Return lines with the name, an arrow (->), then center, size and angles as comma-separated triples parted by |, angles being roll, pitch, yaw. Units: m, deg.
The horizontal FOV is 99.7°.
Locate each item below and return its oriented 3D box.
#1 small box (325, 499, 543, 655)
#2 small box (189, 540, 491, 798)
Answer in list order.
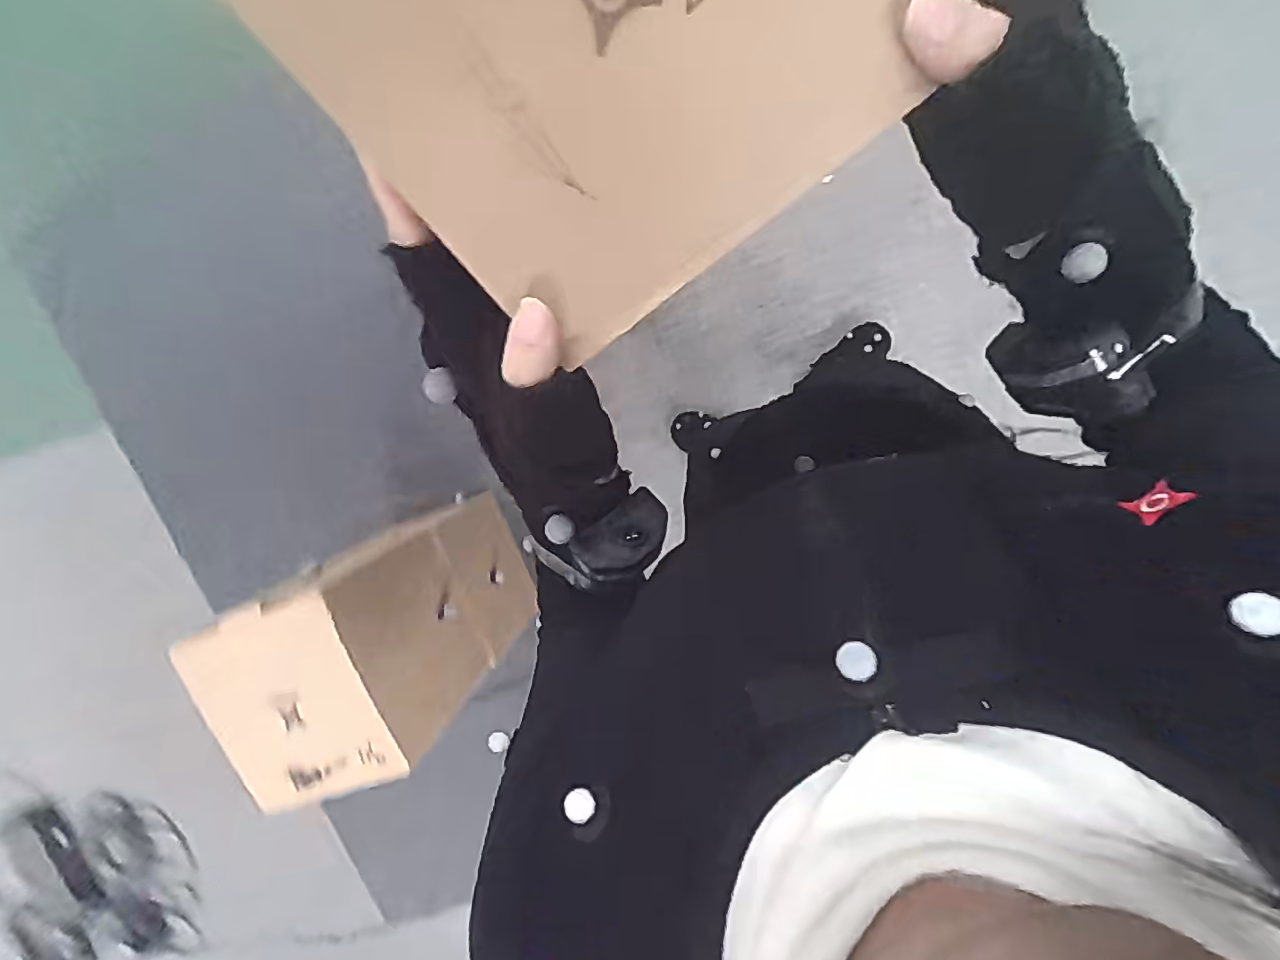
small box -> -0.255, 0.136, 0.707 | 0.168, 0.176, 0.179 | -24, 97, 13
small box -> -0.284, 0.174, 0.551 | 0.168, 0.176, 0.179 | -20, 98, 13
